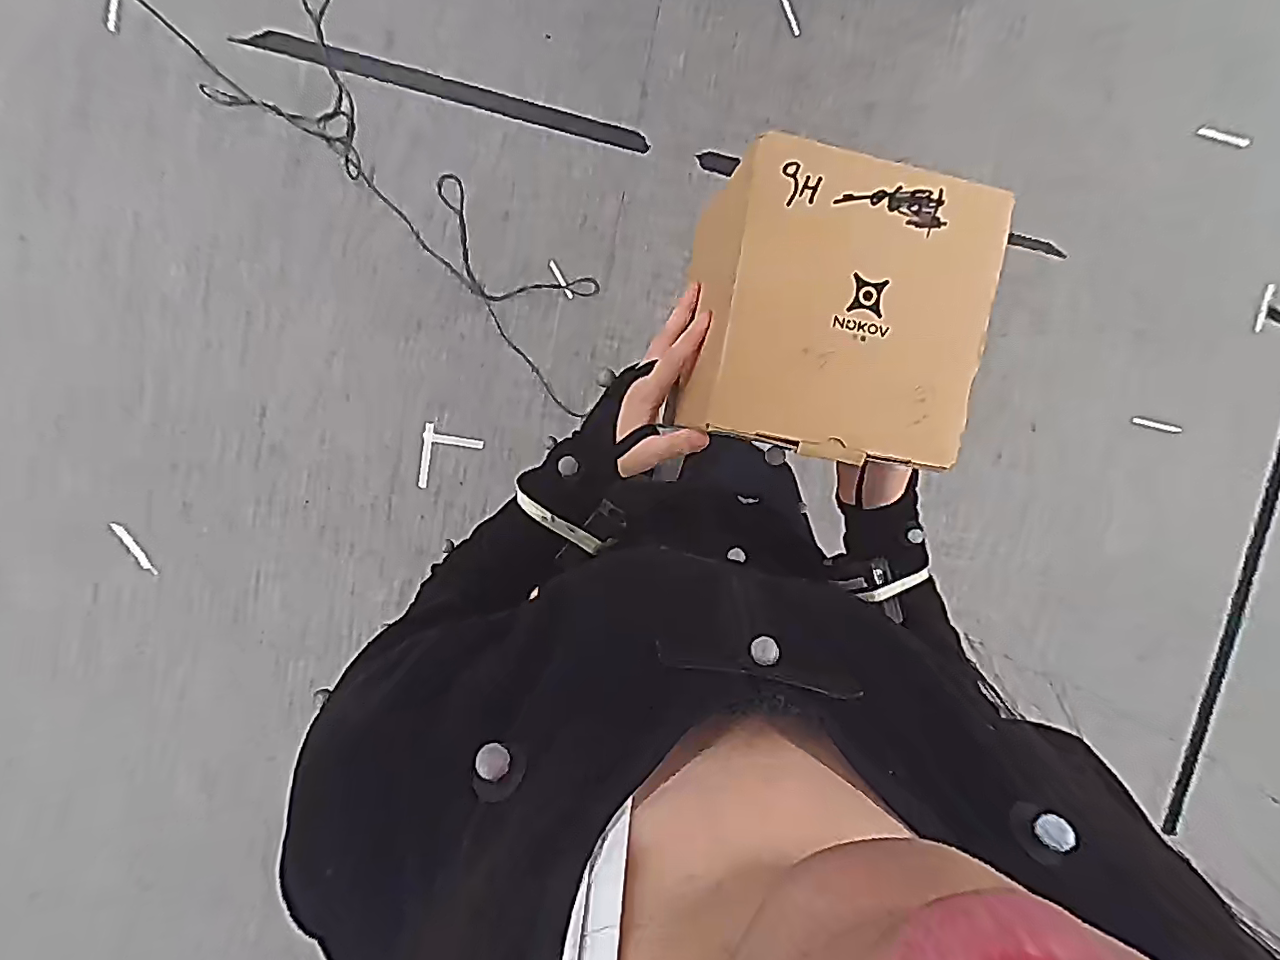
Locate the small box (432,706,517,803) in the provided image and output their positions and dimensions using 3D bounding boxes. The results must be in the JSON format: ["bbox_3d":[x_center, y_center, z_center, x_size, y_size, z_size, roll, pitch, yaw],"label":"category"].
[{"bbox_3d":[-0.432,0.718,1.428,0.179,0.176,0.168,6,97,-5],"label":"small box"}]

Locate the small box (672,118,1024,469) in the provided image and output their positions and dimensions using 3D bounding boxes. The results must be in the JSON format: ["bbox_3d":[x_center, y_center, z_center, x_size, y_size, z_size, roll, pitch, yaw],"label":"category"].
[{"bbox_3d":[0.126,-0.115,0.400,0.168,0.176,0.179,9,96,-9],"label":"small box"}]
